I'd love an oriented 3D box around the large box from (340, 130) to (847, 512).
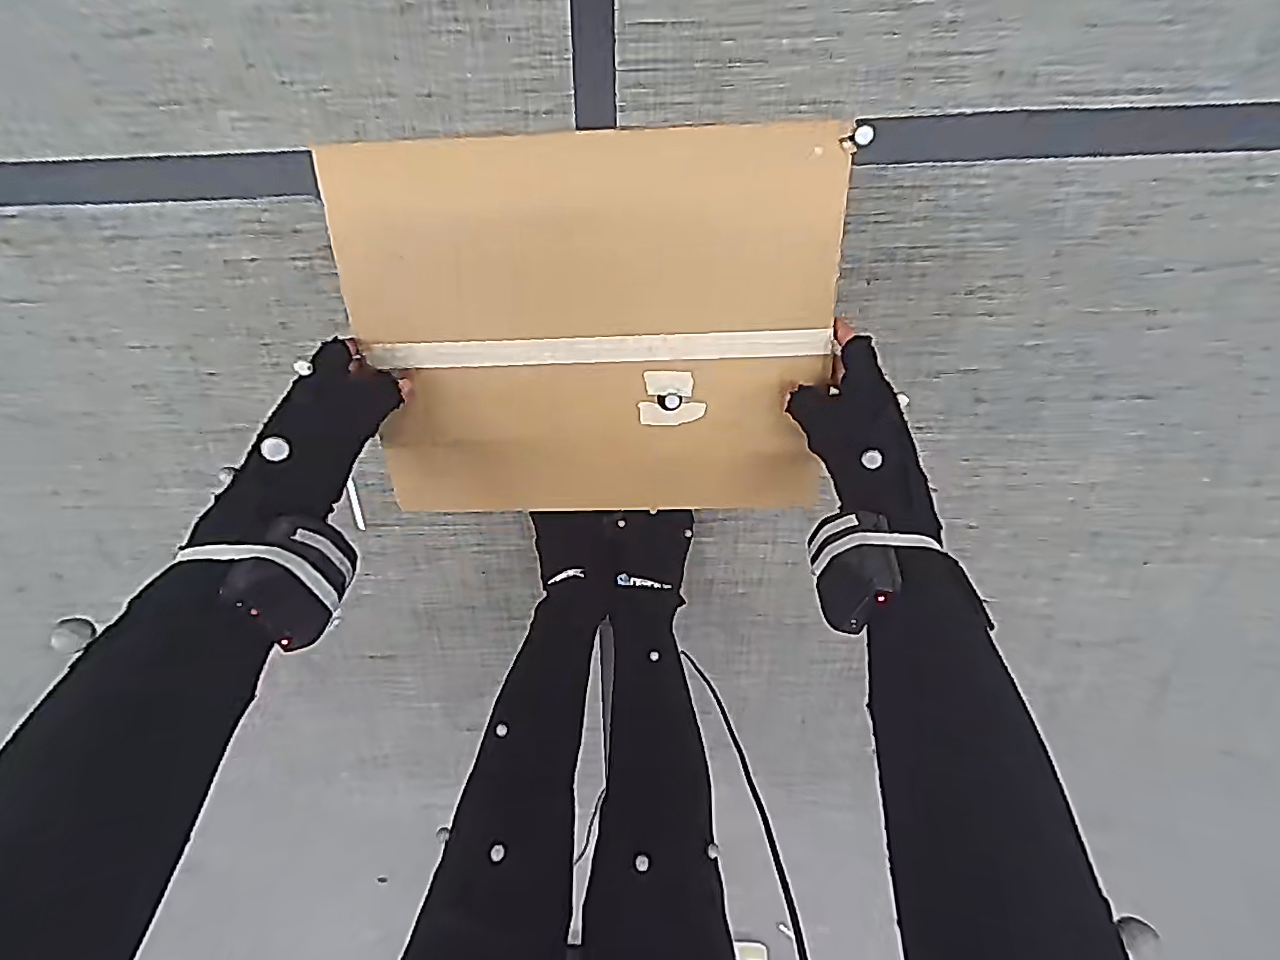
[{"bbox_3d":[-0.031,-0.174,0.610,0.408,0.320,0.320,-1,114,2],"label":"large box"}]
